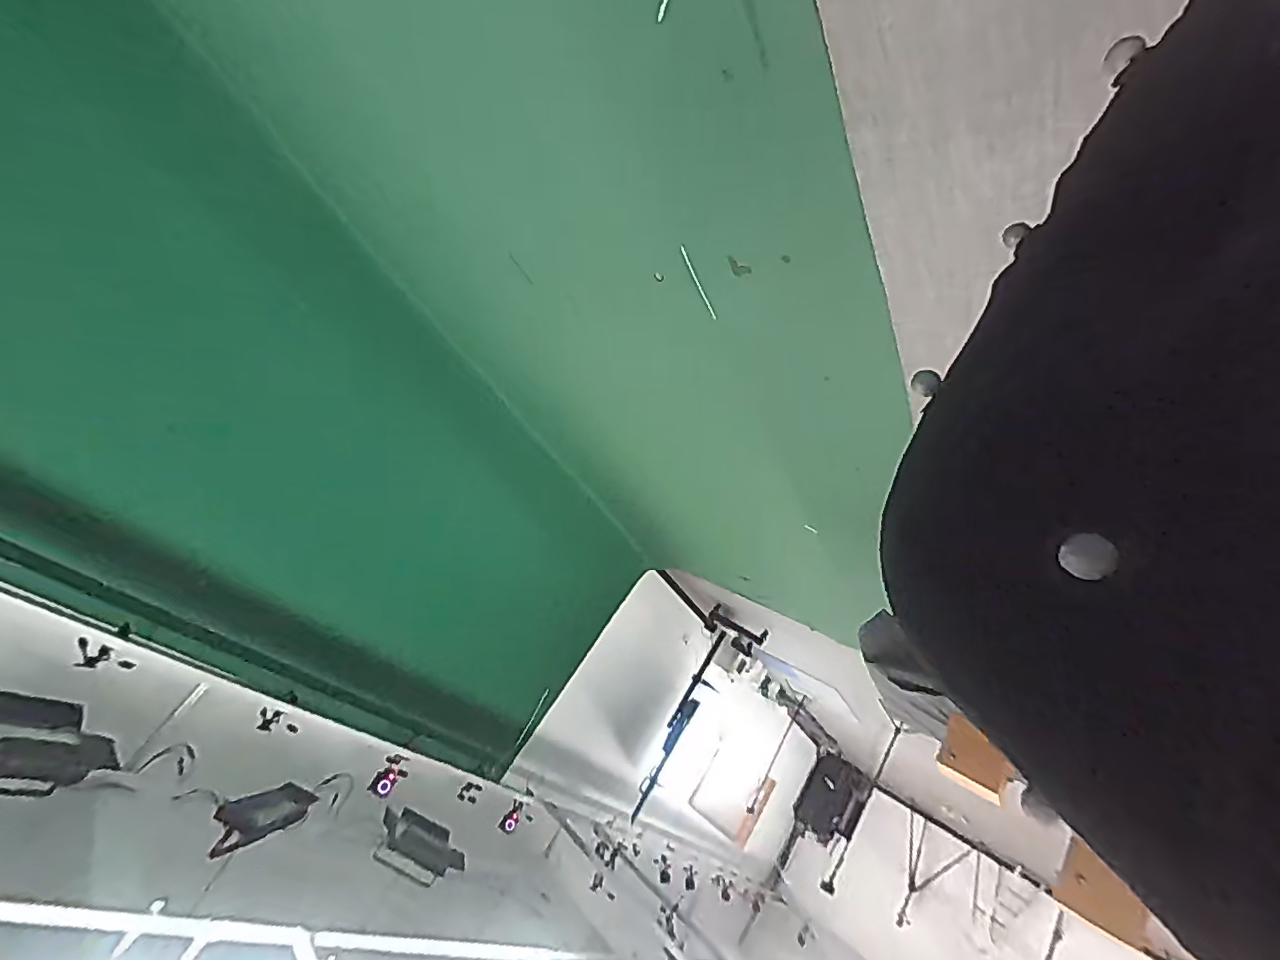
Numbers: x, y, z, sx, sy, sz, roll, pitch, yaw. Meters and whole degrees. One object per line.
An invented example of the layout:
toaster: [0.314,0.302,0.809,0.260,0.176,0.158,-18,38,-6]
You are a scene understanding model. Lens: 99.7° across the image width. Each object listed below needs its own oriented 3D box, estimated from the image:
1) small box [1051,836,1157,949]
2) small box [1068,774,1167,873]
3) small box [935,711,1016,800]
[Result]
small box: [1.203,1.062,1.407,0.179,0.176,0.168,15,153,45]
small box: [1.290,0.937,1.463,0.168,0.176,0.179,17,153,45]
small box: [1.056,0.858,1.693,0.179,0.176,0.168,19,155,43]
